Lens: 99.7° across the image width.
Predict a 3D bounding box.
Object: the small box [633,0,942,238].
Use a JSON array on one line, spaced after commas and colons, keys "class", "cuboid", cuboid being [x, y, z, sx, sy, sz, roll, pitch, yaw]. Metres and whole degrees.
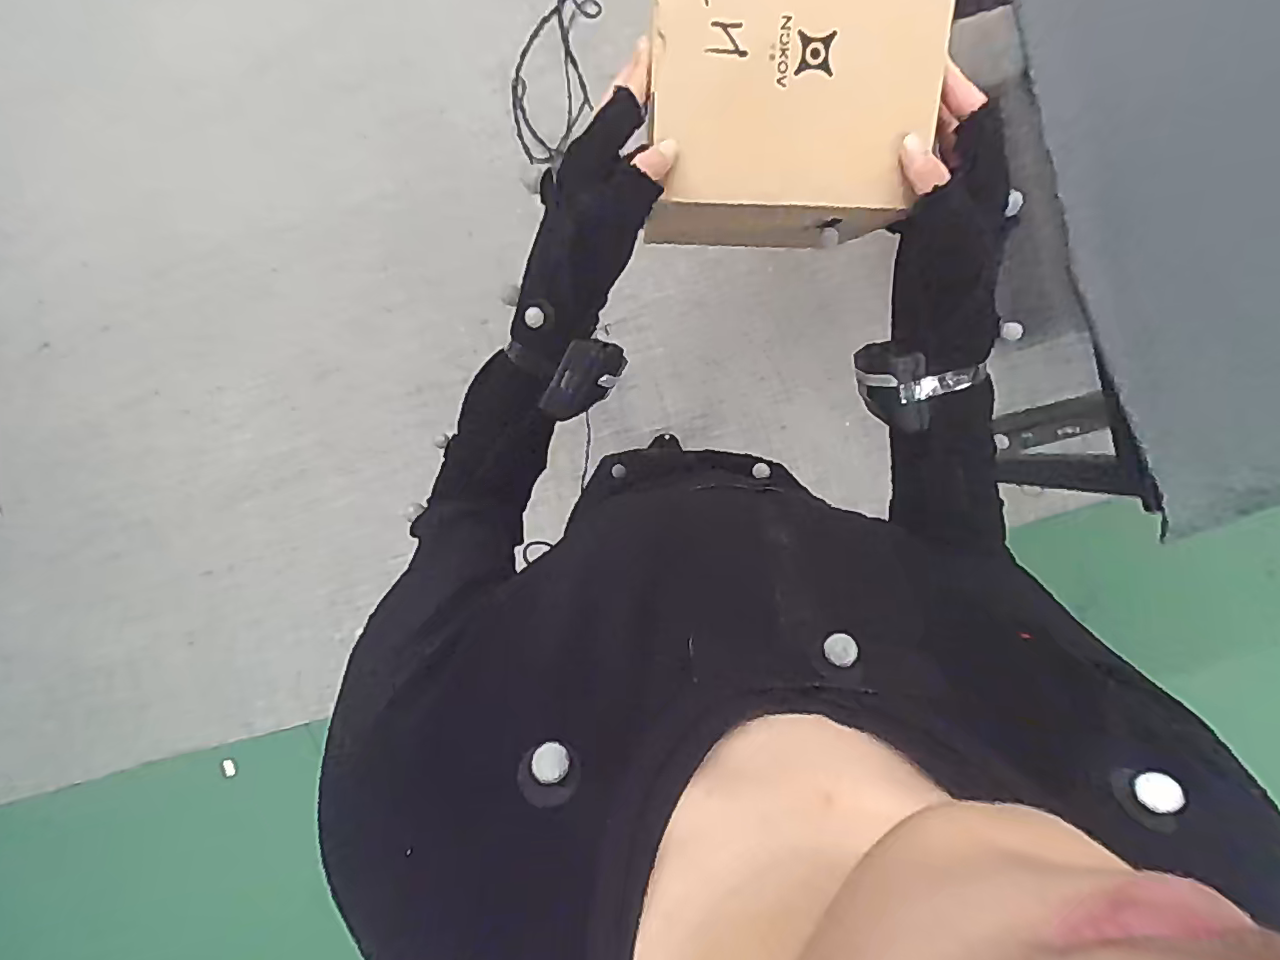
[{"class": "small box", "cuboid": [0.084, -0.277, 0.388, 0.179, 0.176, 0.168, 1, 105, 0]}]
